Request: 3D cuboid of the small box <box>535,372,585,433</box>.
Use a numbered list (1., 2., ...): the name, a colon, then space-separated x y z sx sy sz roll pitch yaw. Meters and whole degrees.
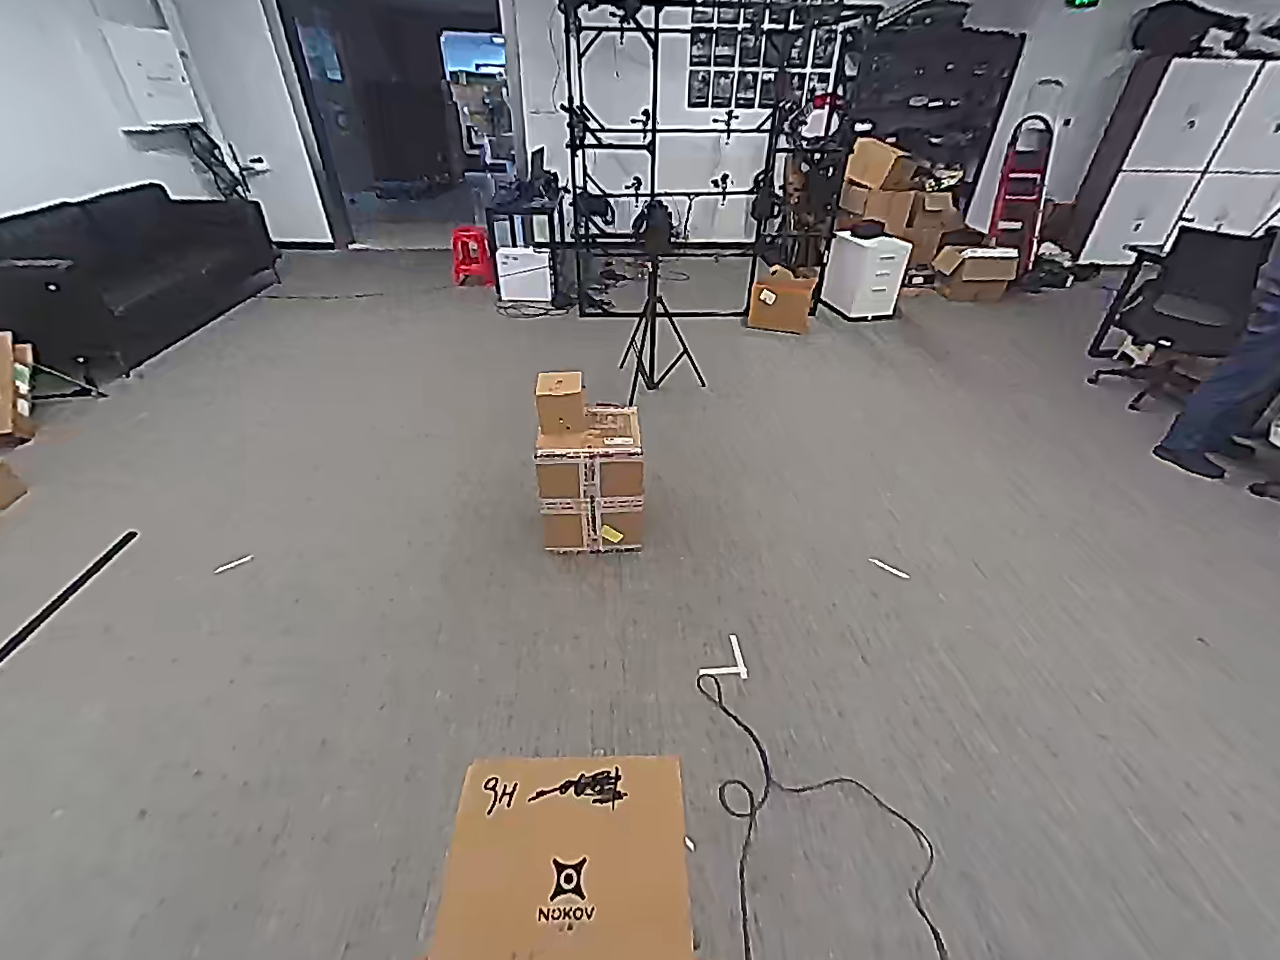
1. small box: -0.302 -0.295 2.065 0.168 0.176 0.179 -4 38 -3
